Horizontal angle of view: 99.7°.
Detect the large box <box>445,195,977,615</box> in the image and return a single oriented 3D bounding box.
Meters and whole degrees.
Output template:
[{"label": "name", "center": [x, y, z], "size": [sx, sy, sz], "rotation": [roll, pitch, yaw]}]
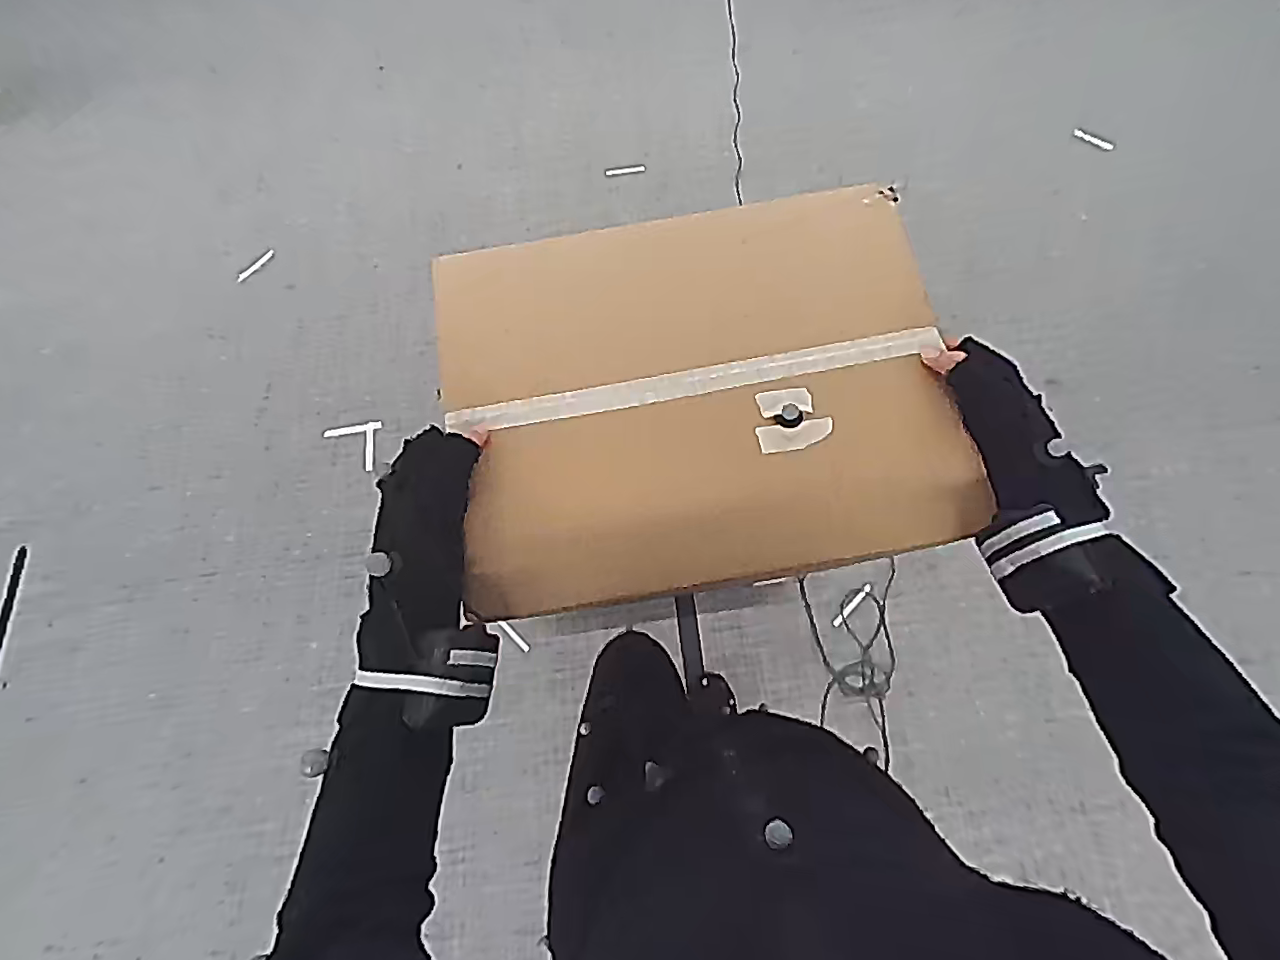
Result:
[{"label": "large box", "center": [0.048, -0.042, 0.599], "size": [0.408, 0.320, 0.320], "rotation": [-10, 77, 0]}]
